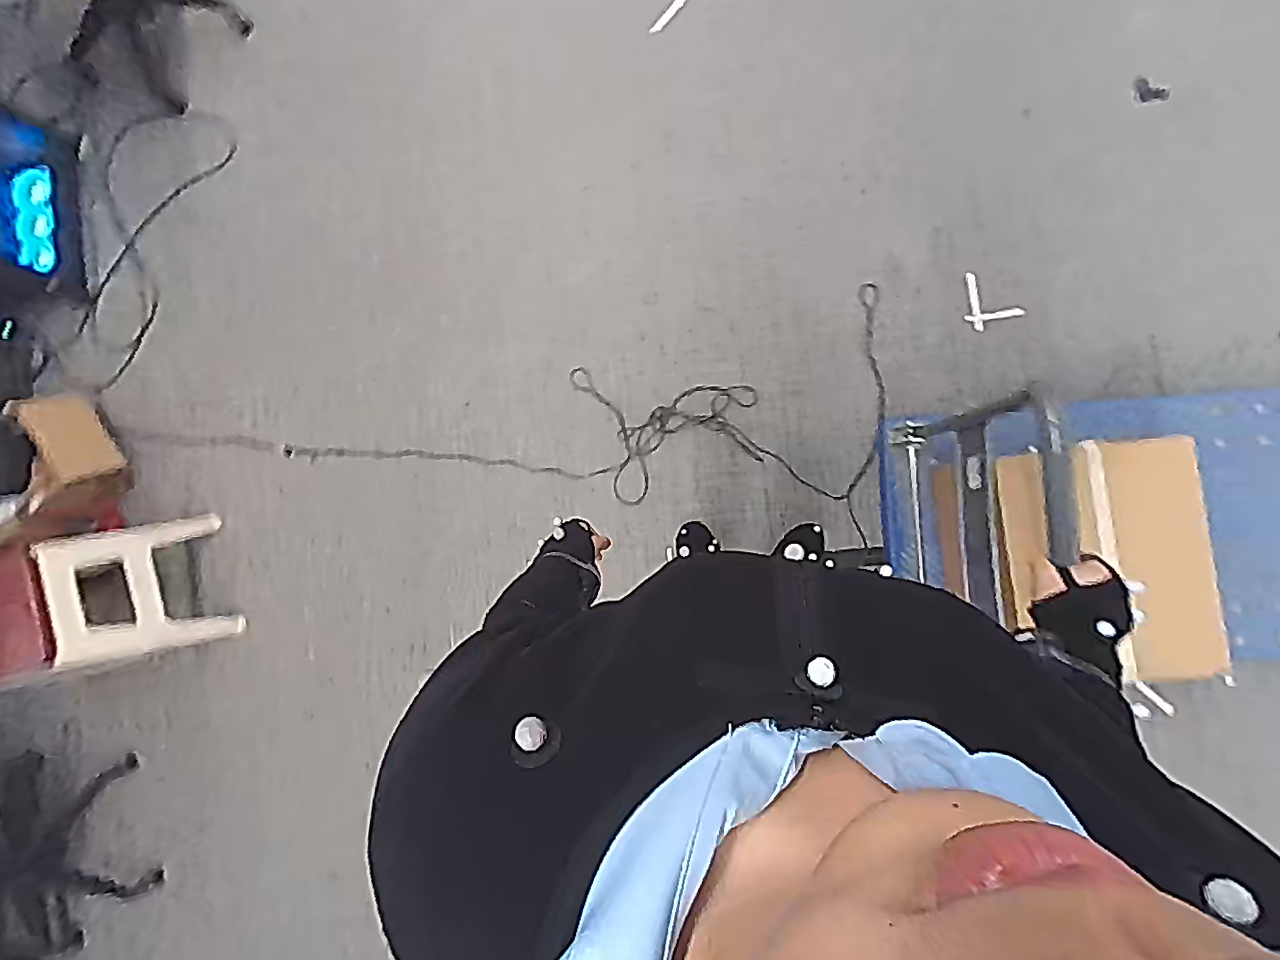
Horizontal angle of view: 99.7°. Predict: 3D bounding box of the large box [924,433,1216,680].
[{"bbox_3d":[0.817,0.138,1.088,0.320,0.320,0.408,-8,88,9],"label":"large box"}]
